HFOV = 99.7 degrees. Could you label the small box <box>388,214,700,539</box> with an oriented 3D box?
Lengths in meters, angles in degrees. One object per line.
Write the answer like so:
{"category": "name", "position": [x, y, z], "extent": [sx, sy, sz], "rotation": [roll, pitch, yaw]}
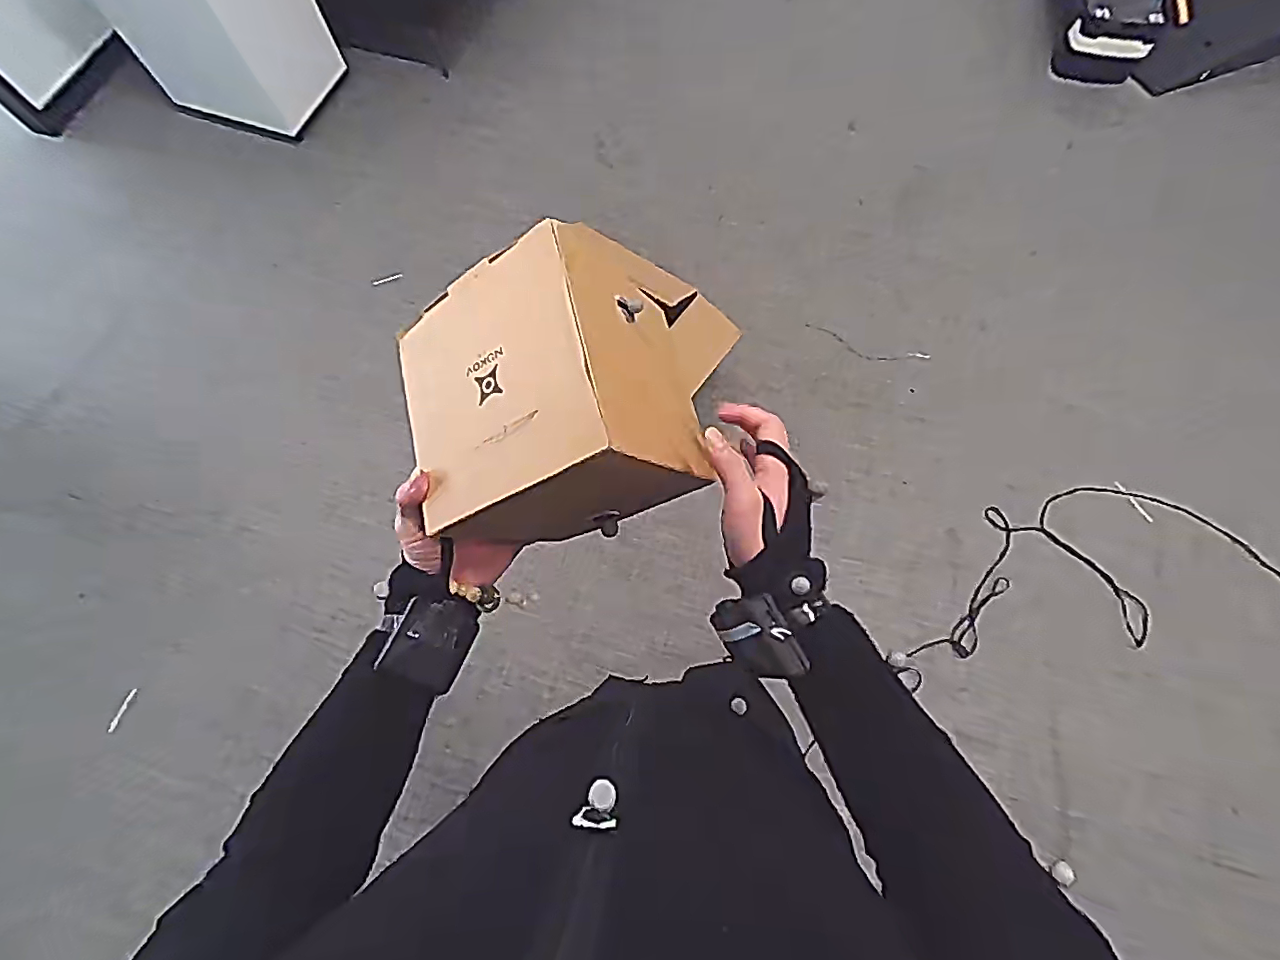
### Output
{"category": "small box", "position": [-0.072, -0.059, 0.434], "extent": [0.168, 0.176, 0.179], "rotation": [-21, 71, 27]}
